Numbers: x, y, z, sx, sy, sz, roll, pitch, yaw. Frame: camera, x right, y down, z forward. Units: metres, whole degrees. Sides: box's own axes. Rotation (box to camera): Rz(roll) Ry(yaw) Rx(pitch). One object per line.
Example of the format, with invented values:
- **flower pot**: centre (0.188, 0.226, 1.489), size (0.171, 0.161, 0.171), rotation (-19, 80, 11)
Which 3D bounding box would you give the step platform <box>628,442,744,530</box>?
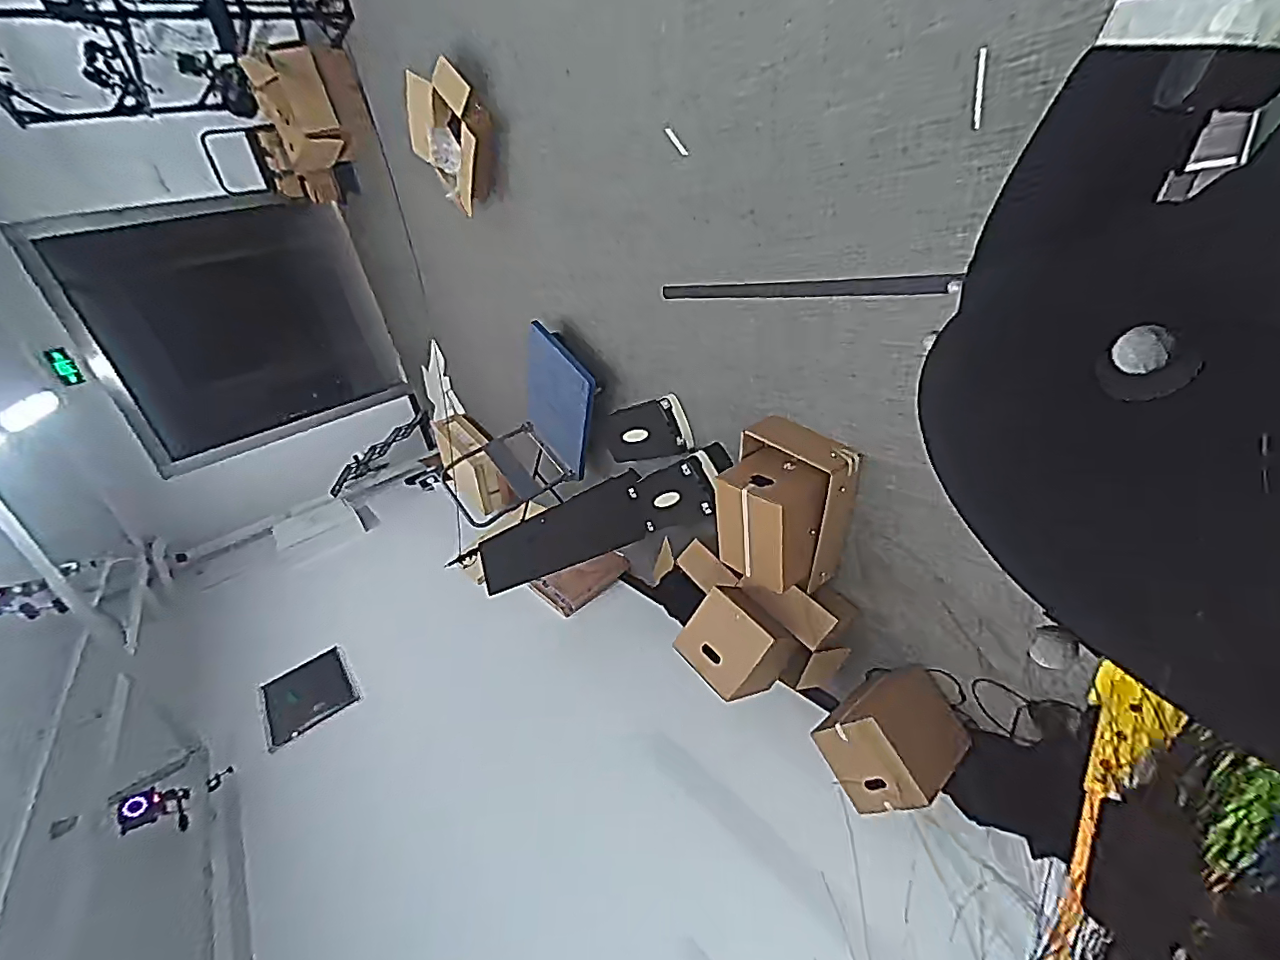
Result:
- **step platform**: centre (0.196, 0.051, 2.663), size (0.286, 0.204, 0.684), rotation (62, 150, -1)
